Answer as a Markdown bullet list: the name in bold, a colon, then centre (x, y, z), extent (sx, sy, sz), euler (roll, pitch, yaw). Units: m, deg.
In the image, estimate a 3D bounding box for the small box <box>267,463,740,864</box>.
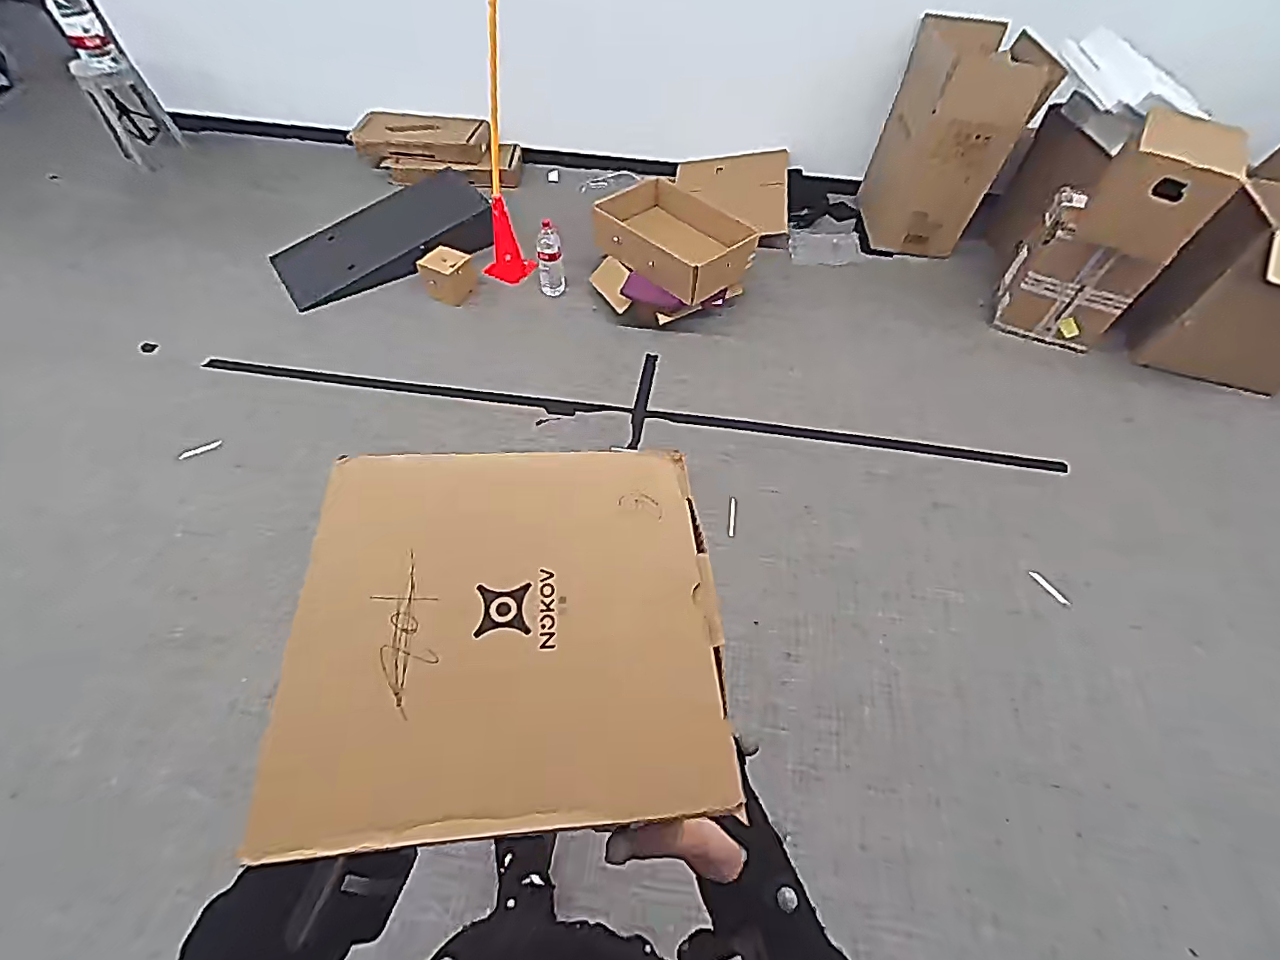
- **small box**: centre (-0.061, 0.105, 0.309), extent (0.179, 0.176, 0.168), euler (-3, 57, -8)
